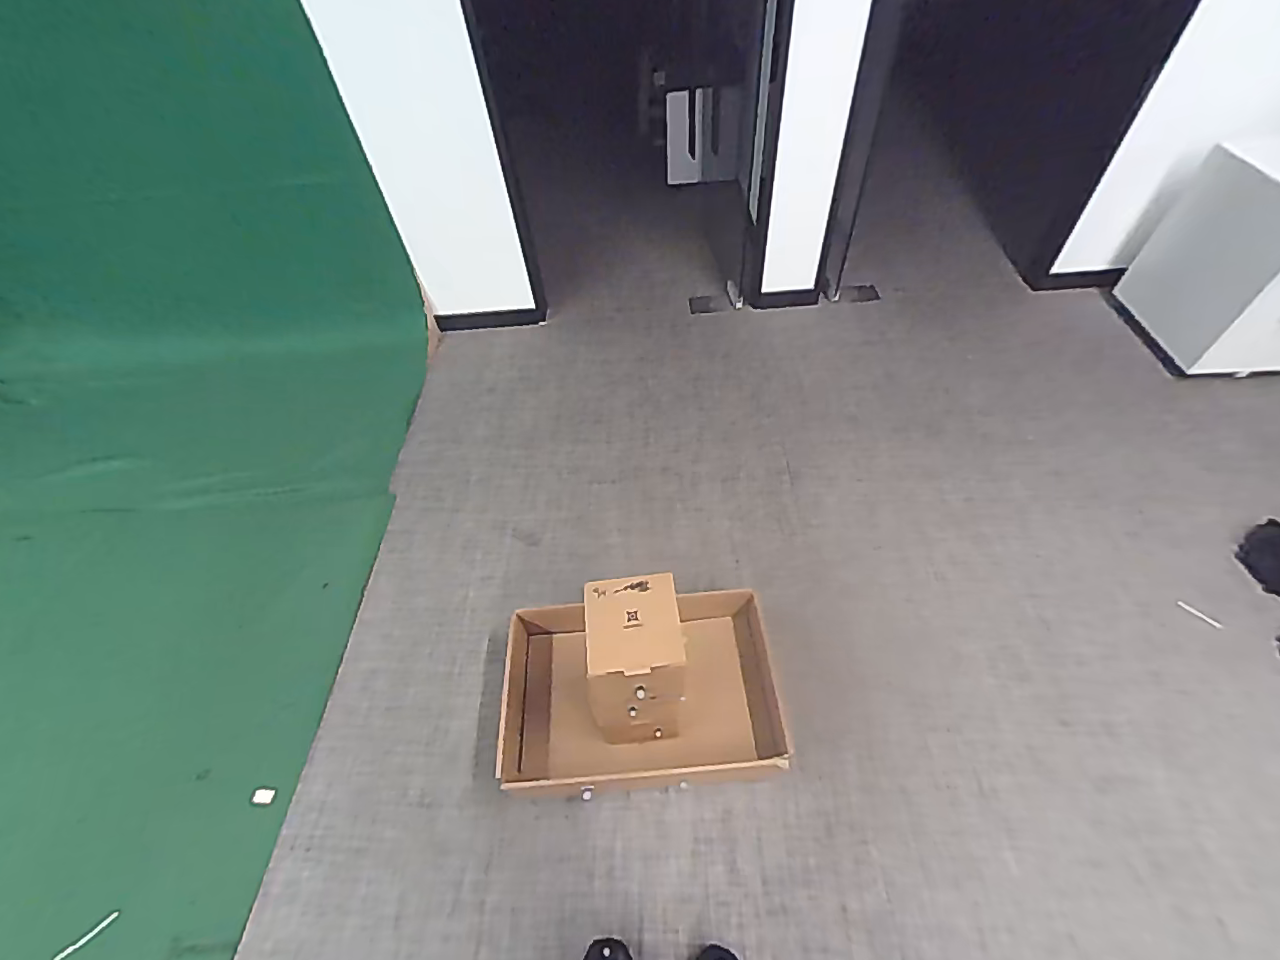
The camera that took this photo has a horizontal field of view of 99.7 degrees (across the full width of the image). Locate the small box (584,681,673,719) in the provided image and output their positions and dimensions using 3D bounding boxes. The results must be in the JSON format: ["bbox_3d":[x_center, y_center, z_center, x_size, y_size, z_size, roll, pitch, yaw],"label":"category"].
[{"bbox_3d":[-0.021,0.402,1.156,0.179,0.176,0.168,-4,50,1],"label":"small box"}]

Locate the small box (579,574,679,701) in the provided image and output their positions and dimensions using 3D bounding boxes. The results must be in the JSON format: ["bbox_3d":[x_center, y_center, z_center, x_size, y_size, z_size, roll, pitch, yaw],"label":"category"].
[{"bbox_3d":[-0.019,0.306,1.027,0.168,0.176,0.179,-8,50,-2],"label":"small box"}]

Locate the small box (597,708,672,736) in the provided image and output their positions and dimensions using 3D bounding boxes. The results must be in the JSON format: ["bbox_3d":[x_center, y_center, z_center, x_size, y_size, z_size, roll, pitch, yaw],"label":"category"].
[{"bbox_3d":[-0.014,0.491,1.274,0.168,0.176,0.179,-5,49,-1],"label":"small box"}]
